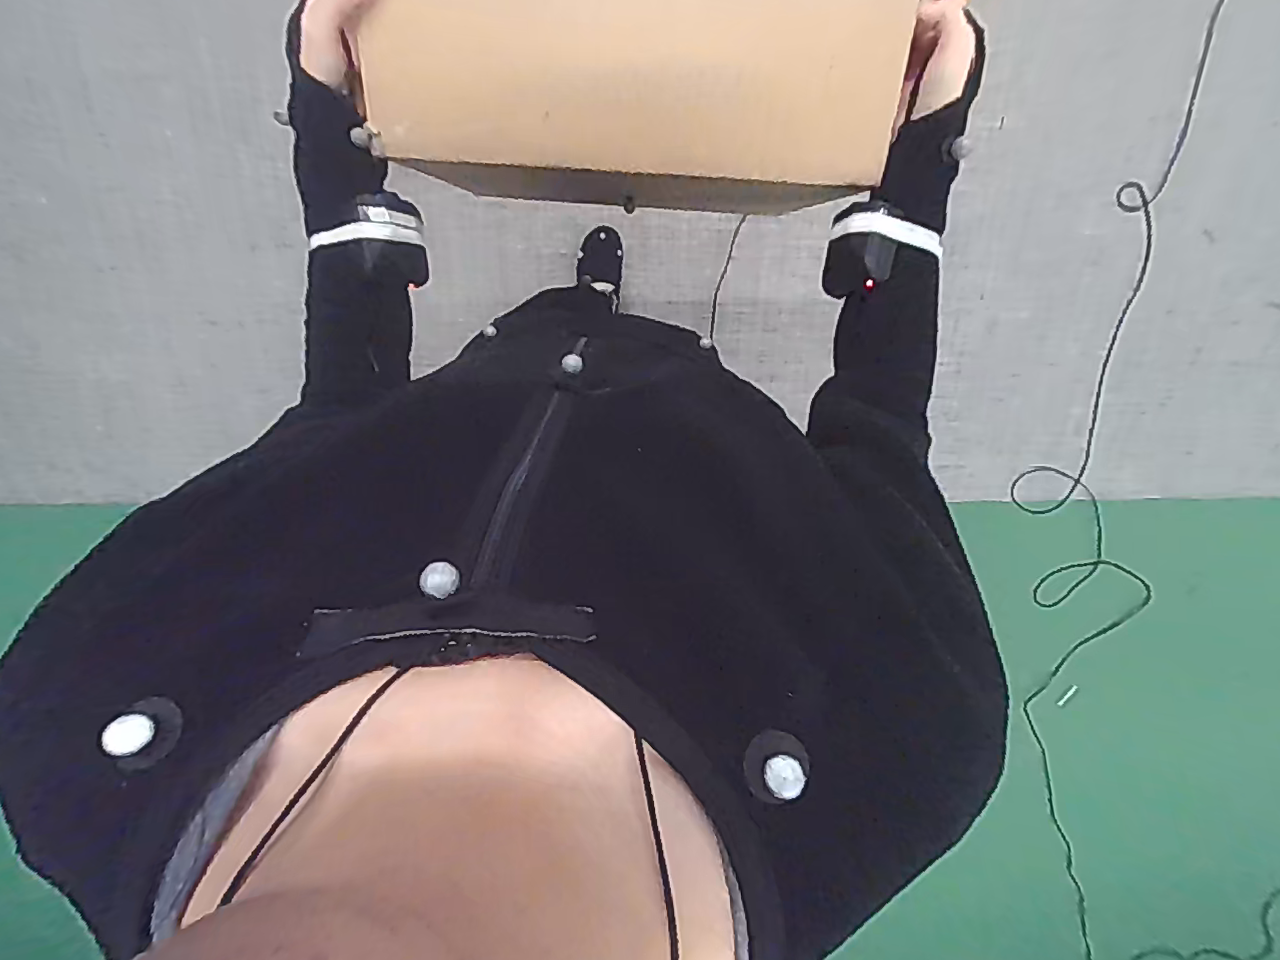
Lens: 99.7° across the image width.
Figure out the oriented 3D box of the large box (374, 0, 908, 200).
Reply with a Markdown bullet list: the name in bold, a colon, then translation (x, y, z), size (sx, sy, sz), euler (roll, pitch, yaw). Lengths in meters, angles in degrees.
- **large box**: translation (0.004, -0.457, 0.519), size (0.408, 0.320, 0.320), euler (2, 112, -2)
